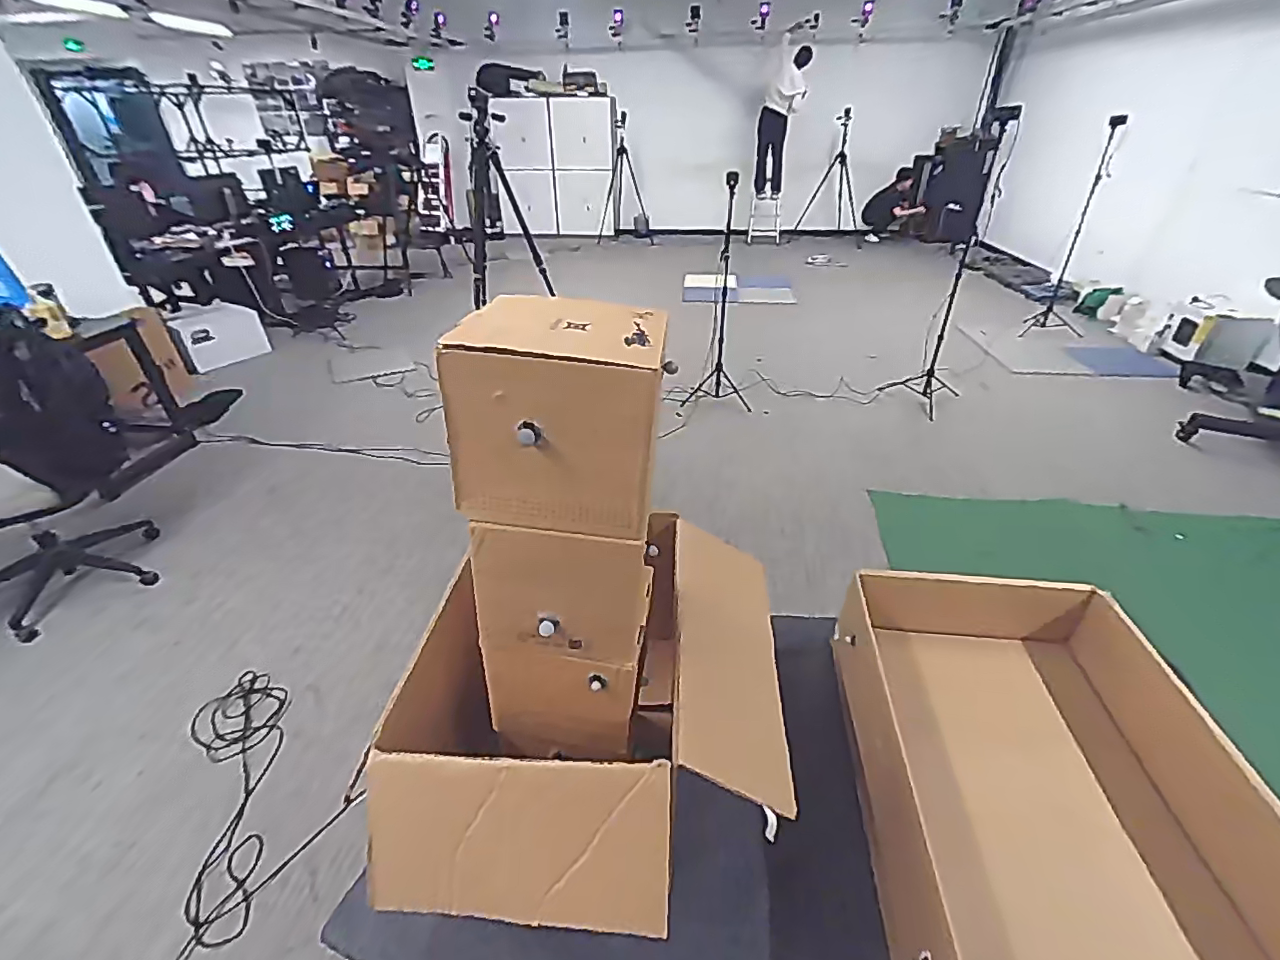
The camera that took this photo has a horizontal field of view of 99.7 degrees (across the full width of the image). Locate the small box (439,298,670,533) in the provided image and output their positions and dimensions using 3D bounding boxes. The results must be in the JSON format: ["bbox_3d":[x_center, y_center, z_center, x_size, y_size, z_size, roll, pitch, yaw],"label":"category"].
[{"bbox_3d":[-0.068,-0.066,0.521,0.179,0.176,0.168,6,33,2],"label":"small box"}]

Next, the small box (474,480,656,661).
[{"bbox_3d":[-0.074,0.073,0.610,0.168,0.176,0.179,6,33,2],"label":"small box"}]
